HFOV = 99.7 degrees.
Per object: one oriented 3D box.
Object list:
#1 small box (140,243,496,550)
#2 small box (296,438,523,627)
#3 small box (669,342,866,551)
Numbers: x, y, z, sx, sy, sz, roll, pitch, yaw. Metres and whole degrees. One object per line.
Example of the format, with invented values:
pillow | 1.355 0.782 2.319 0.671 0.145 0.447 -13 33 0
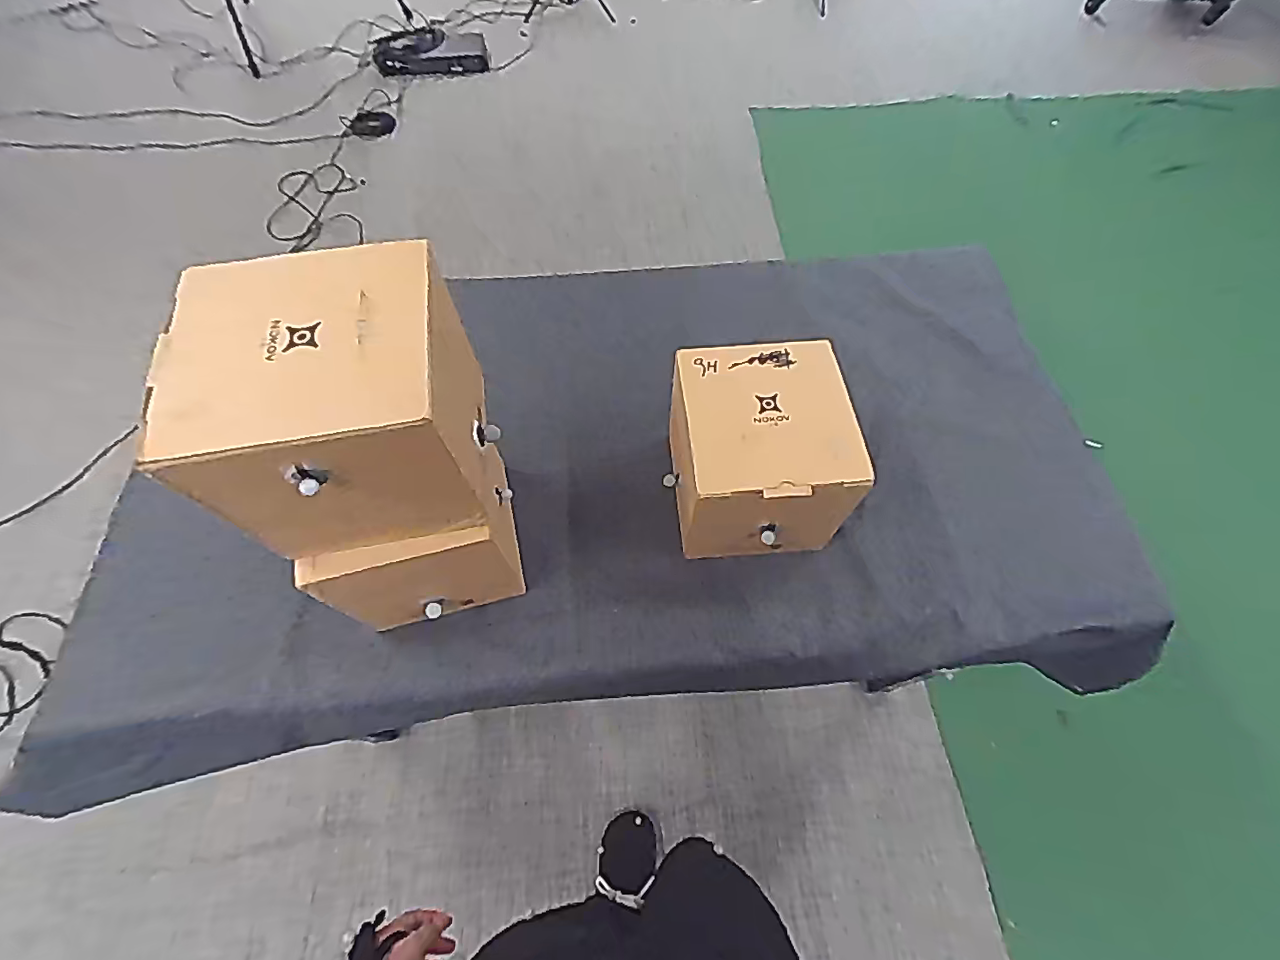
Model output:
small box | -0.226 -0.056 0.432 0.179 0.176 0.168 -10 63 -7
small box | -0.229 0.035 0.568 0.168 0.176 0.179 -14 63 -7
small box | 0.123 -0.027 0.604 0.168 0.176 0.179 -4 62 -2
